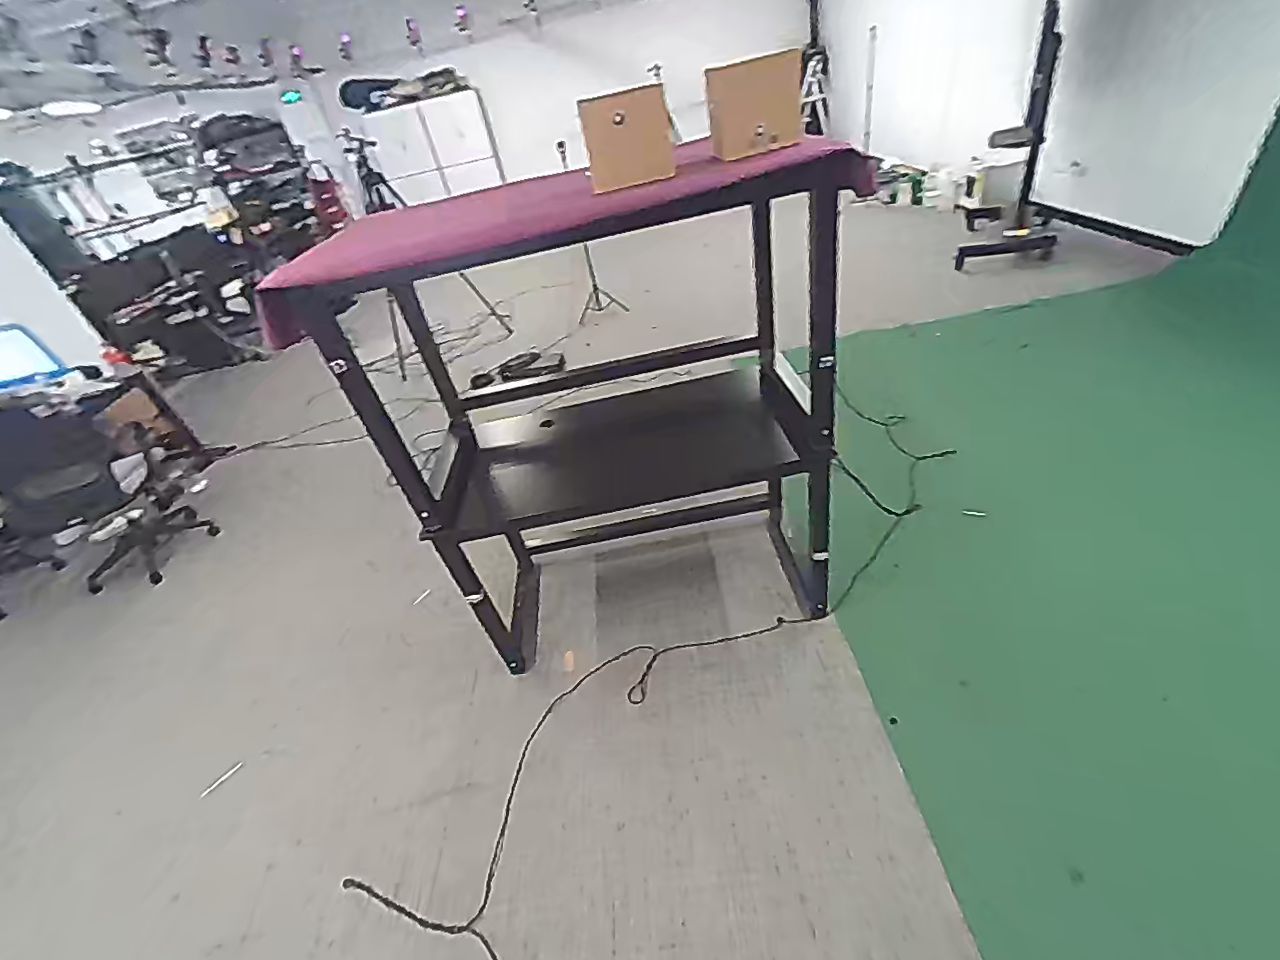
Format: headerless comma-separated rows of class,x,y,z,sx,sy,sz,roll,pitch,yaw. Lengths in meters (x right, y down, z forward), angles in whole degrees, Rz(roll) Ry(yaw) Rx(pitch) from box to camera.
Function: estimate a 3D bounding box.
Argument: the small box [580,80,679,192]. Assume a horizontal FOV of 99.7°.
small box,-0.023,-0.734,1.158,0.179,0.176,0.168,-11,36,3
